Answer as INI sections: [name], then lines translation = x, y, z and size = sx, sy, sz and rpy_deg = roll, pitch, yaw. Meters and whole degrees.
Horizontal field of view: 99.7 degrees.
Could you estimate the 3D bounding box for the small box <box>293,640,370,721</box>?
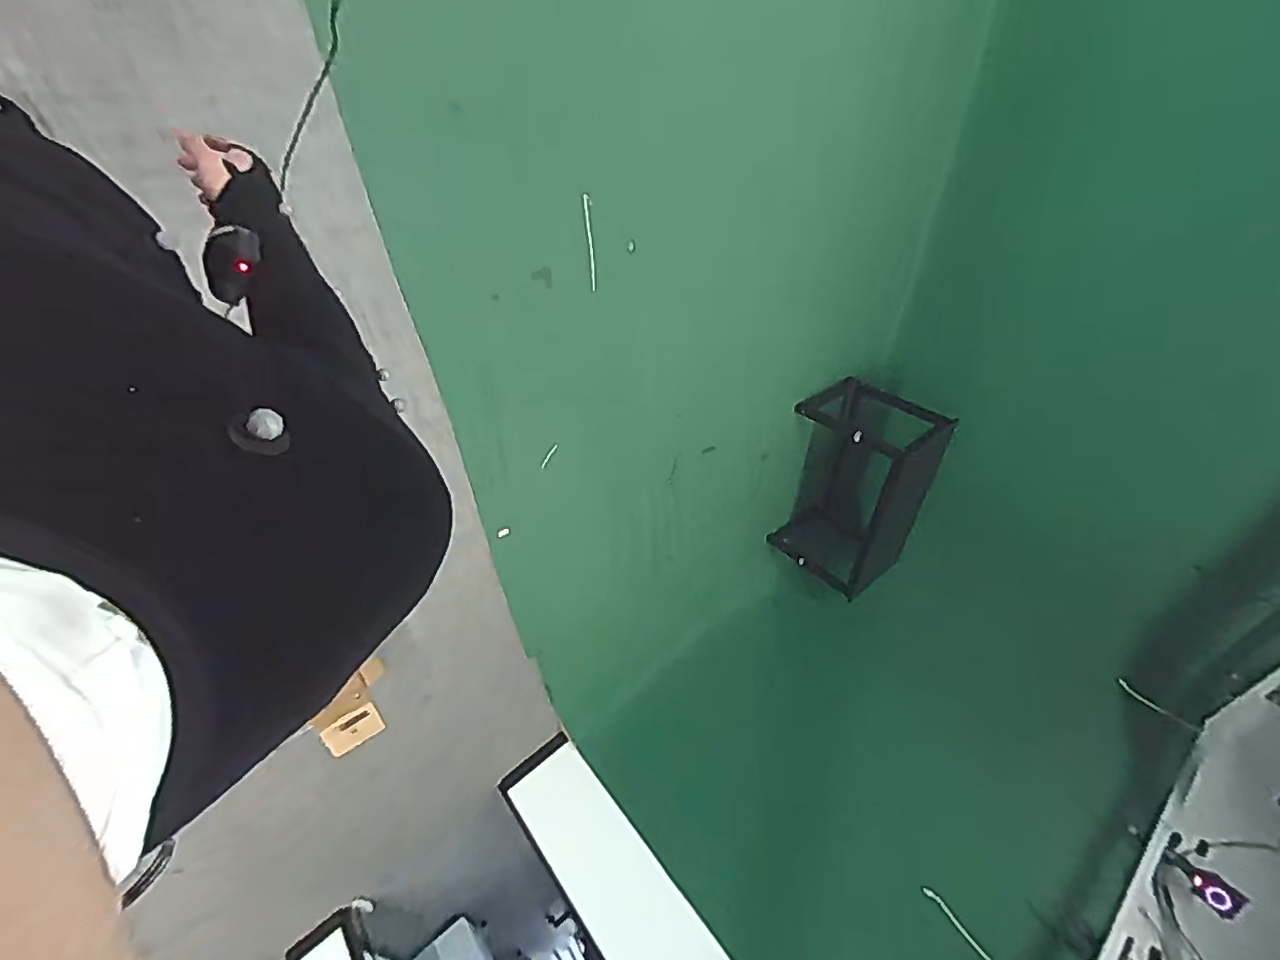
[small box]
translation = -1.101, 0.709, 1.932
size = 0.179, 0.176, 0.168
rpy_deg = -26, 135, -30
